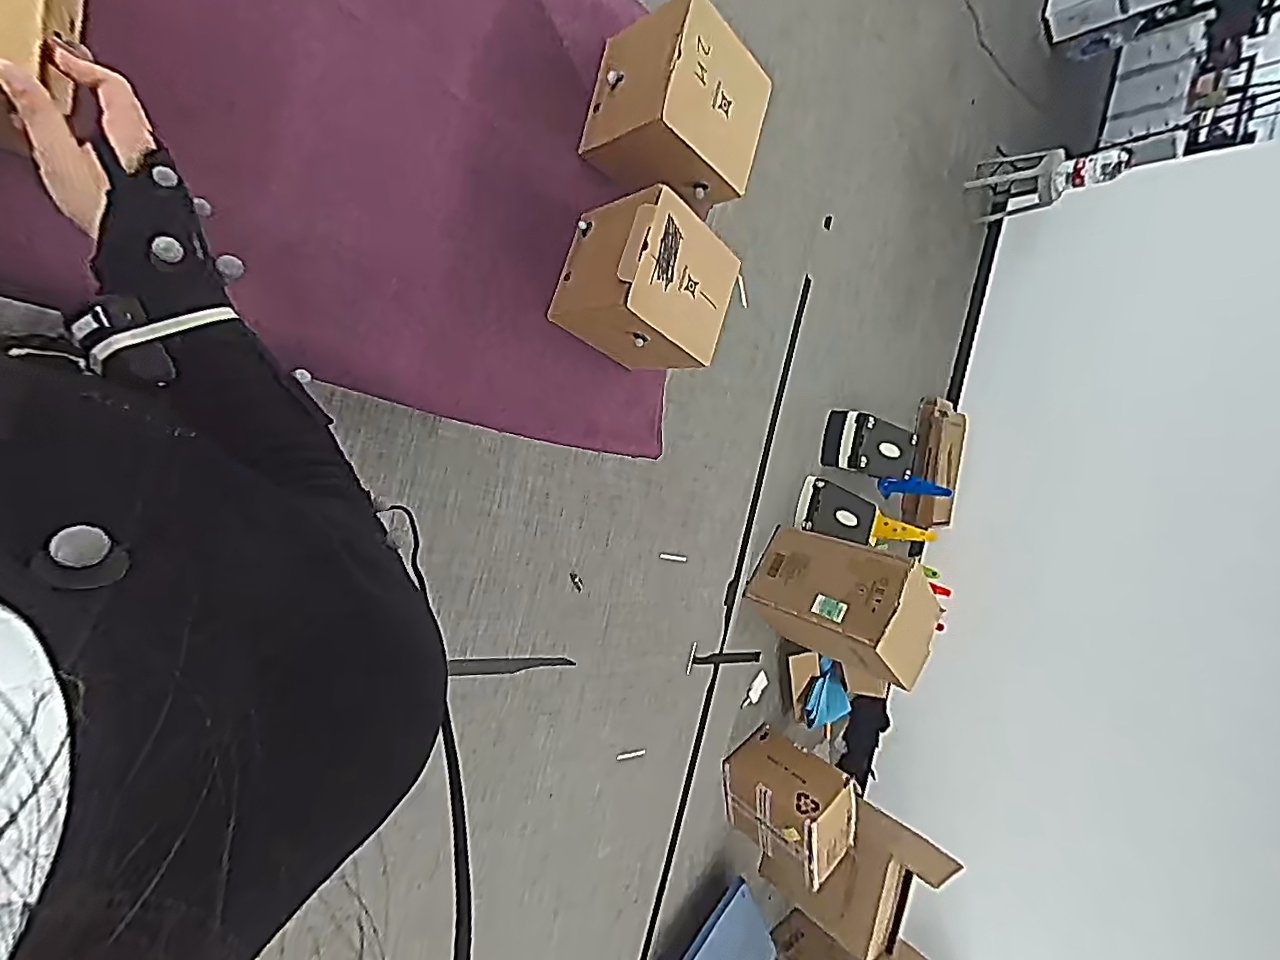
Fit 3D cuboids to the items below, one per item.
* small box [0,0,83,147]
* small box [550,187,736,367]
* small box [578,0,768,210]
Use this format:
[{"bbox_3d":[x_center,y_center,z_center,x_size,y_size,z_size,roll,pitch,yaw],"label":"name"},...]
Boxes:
[{"bbox_3d":[-0.465,-0.332,0.321,0.179,0.176,0.168,8,93,-43],"label":"small box"},{"bbox_3d":[0.001,-0.267,0.763,0.179,0.176,0.168,23,82,-43],"label":"small box"},{"bbox_3d":[0.045,-0.498,0.753,0.179,0.176,0.168,15,89,-44],"label":"small box"}]
